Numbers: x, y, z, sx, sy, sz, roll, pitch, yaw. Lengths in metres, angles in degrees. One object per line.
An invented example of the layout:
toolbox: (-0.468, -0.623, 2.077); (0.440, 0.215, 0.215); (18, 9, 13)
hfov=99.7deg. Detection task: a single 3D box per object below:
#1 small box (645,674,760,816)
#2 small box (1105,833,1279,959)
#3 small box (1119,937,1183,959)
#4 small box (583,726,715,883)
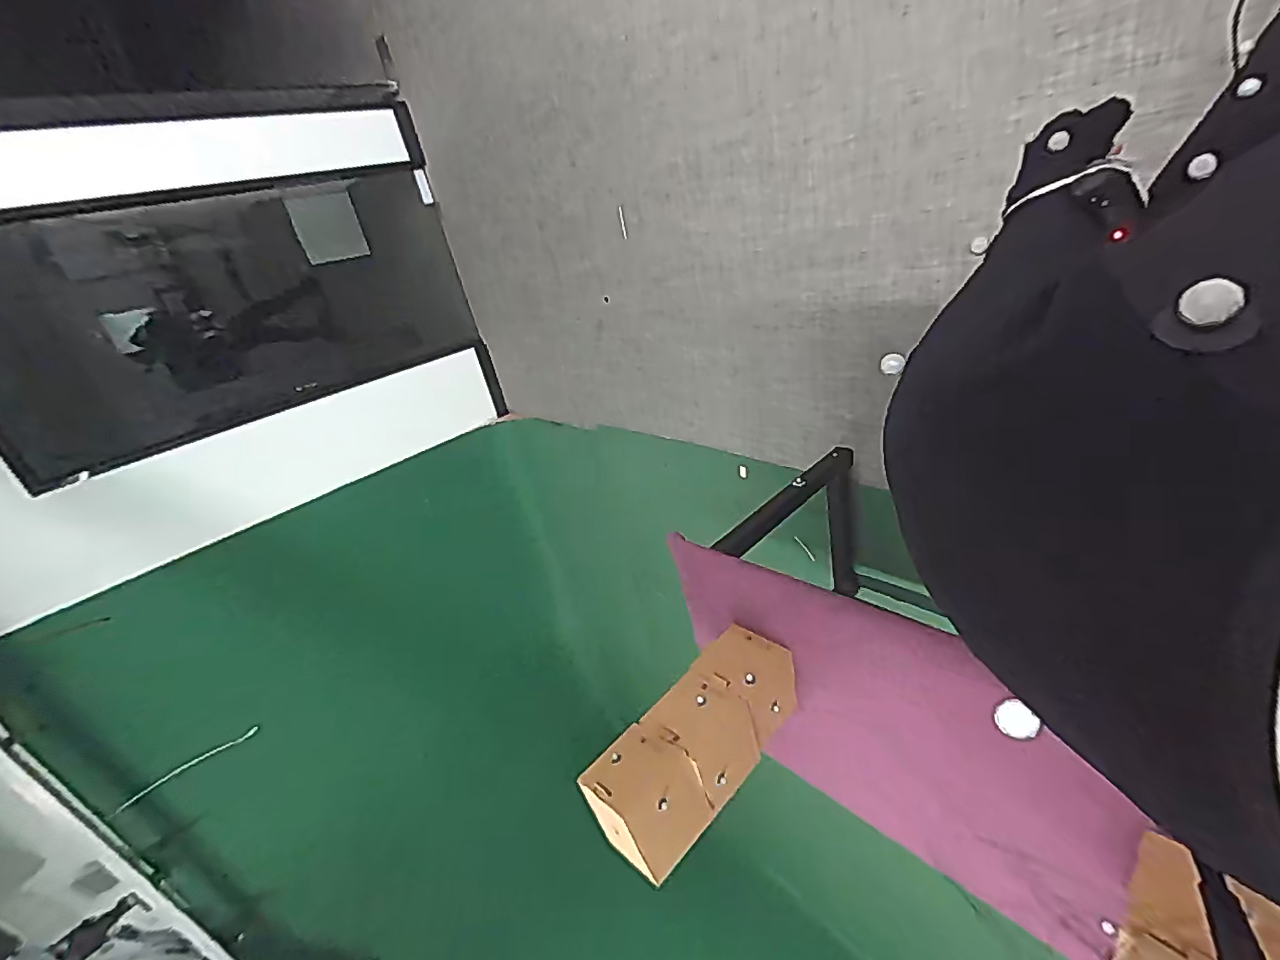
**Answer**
small box: (0.141, 0.563, 1.168); (0.168, 0.176, 0.179); (13, 126, 47)
small box: (0.757, 0.639, 0.729); (0.168, 0.176, 0.179); (15, 126, 47)
small box: (0.641, 0.697, 0.626); (0.168, 0.176, 0.179); (21, 131, 45)
small box: (0.021, 0.635, 1.084); (0.168, 0.176, 0.179); (-1, 116, 53)
